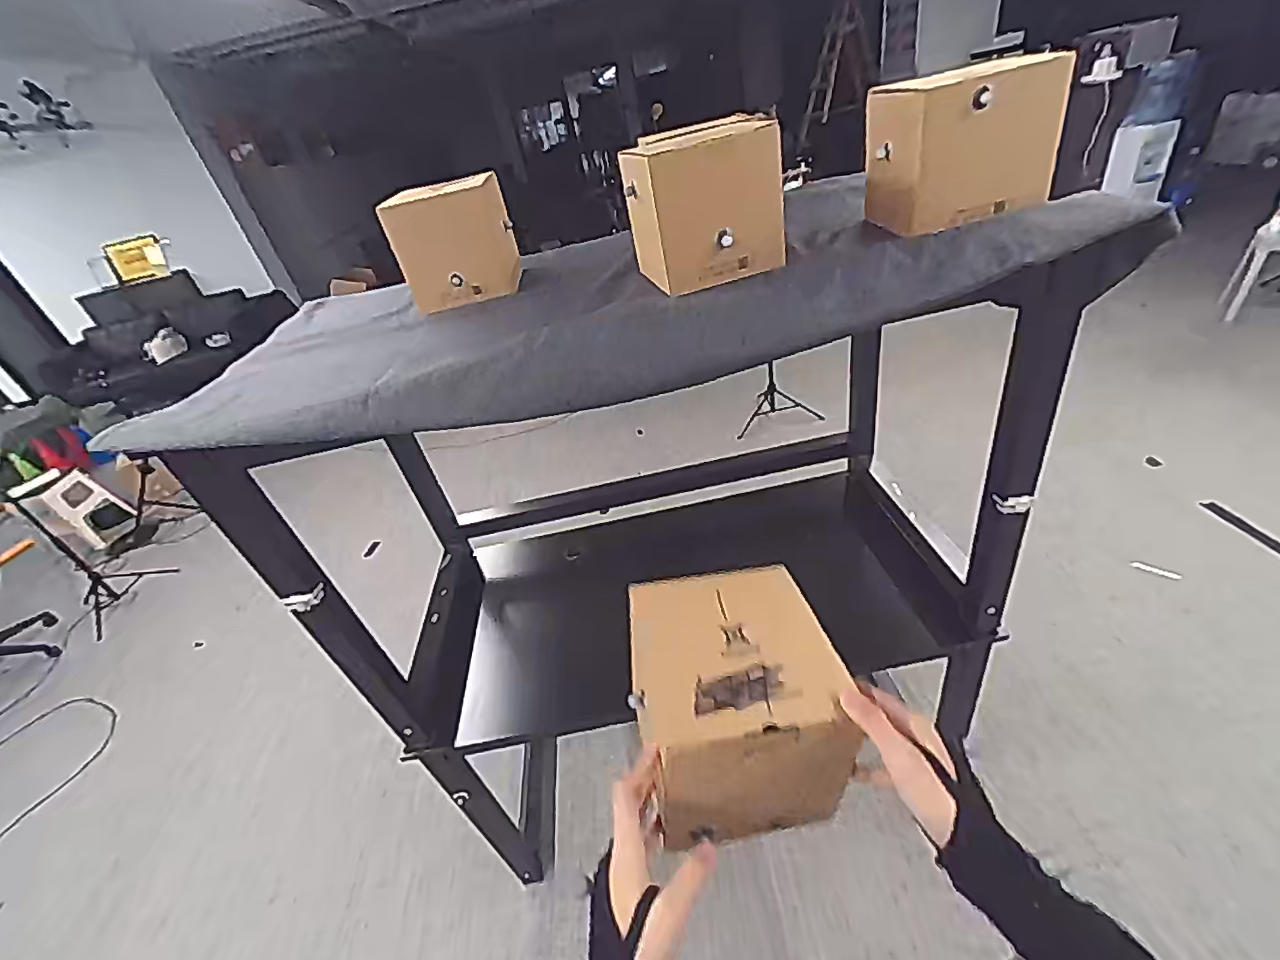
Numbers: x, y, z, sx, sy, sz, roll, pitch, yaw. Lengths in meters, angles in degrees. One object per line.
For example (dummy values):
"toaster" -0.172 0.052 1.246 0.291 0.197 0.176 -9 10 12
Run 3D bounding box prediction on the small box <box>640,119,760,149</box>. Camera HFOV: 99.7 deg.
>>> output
"small box" 0.103 -0.498 0.921 0.179 0.176 0.168 -11 34 3

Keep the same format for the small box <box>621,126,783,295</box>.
"small box" 0.083 -0.369 0.743 0.168 0.176 0.179 -17 35 -5

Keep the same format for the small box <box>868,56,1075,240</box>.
"small box" 0.413 -0.429 0.714 0.168 0.176 0.179 -11 33 5
